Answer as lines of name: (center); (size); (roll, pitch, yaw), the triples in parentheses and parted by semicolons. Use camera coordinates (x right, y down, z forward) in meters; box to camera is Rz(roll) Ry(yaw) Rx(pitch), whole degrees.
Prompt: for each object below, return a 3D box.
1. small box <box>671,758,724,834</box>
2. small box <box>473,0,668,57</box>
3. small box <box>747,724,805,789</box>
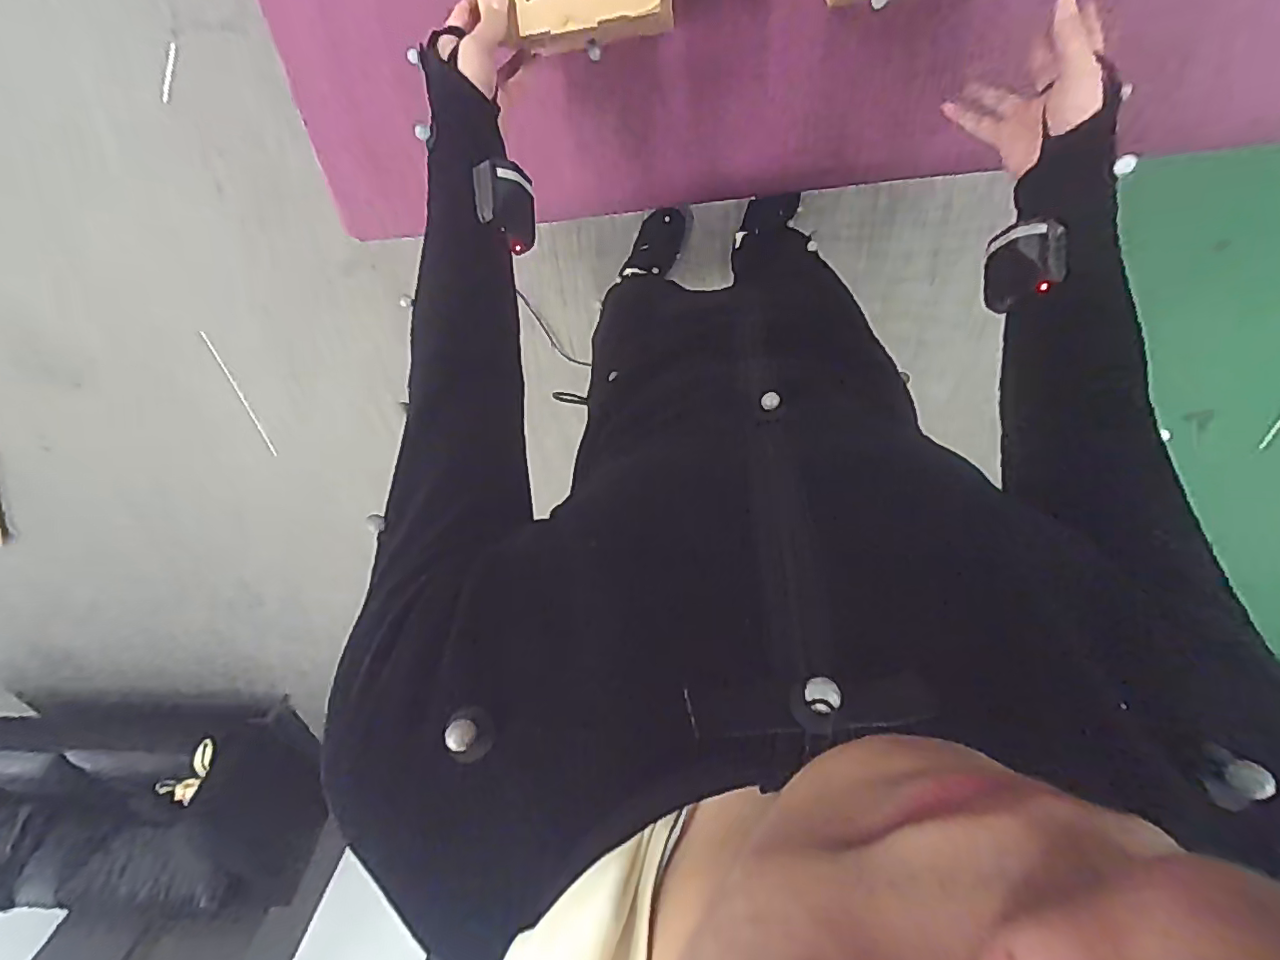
small box: (0.198, 1.090, 1.874); (0.168, 0.176, 0.179); (5, 126, 5)
small box: (-0.066, -0.517, 0.499); (0.168, 0.176, 0.179); (-3, 125, 9)
small box: (0.493, 1.021, 1.990); (0.179, 0.176, 0.168); (2, 125, 5)
